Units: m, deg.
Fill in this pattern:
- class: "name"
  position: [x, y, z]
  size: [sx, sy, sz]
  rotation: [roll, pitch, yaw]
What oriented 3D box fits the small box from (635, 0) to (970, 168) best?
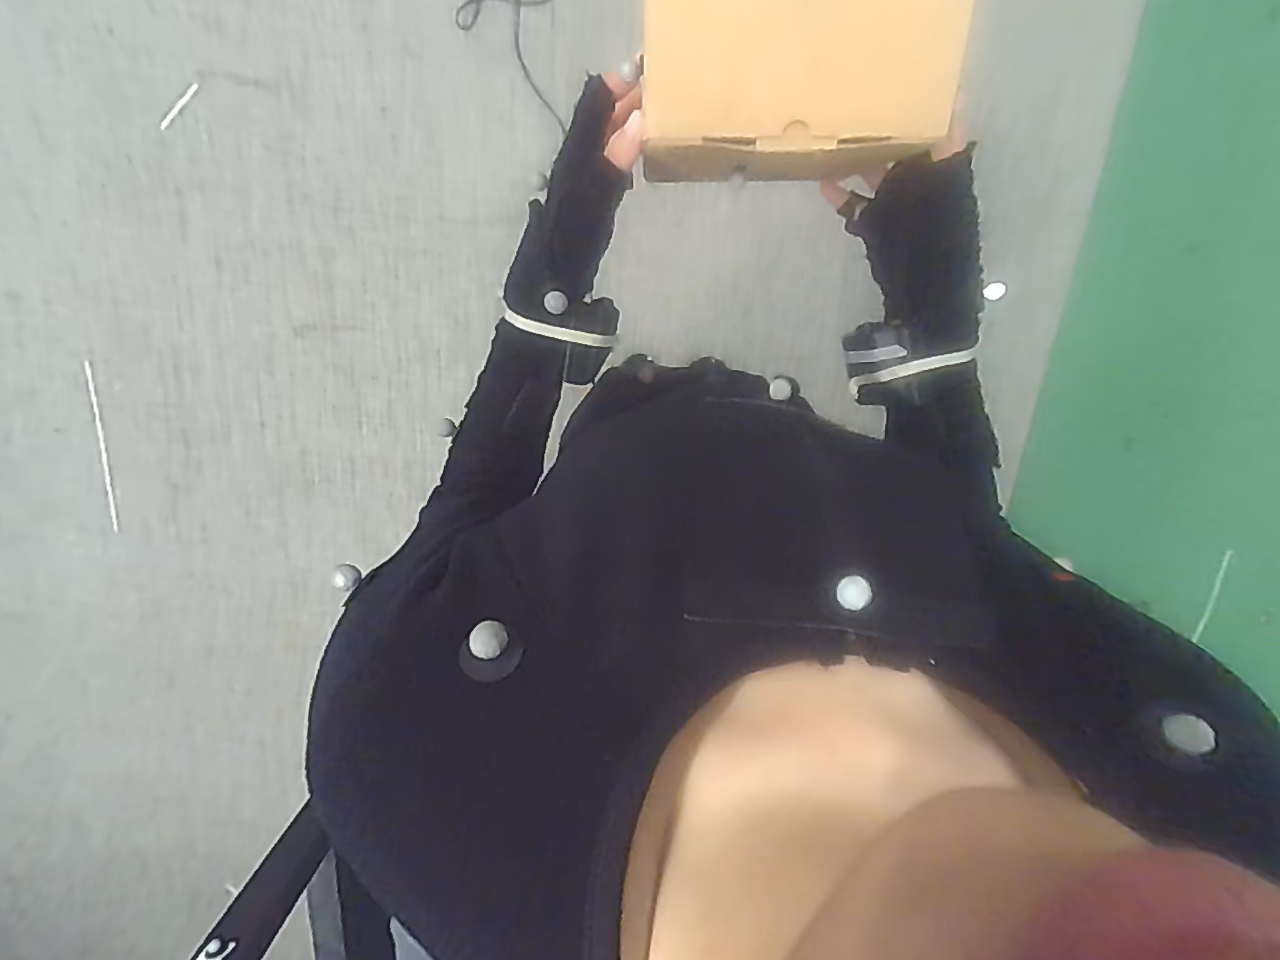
- class: "small box"
  position: [0.080, -0.299, 0.325]
  size: [0.168, 0.176, 0.179]
  rotation: [-1, 114, 1]
